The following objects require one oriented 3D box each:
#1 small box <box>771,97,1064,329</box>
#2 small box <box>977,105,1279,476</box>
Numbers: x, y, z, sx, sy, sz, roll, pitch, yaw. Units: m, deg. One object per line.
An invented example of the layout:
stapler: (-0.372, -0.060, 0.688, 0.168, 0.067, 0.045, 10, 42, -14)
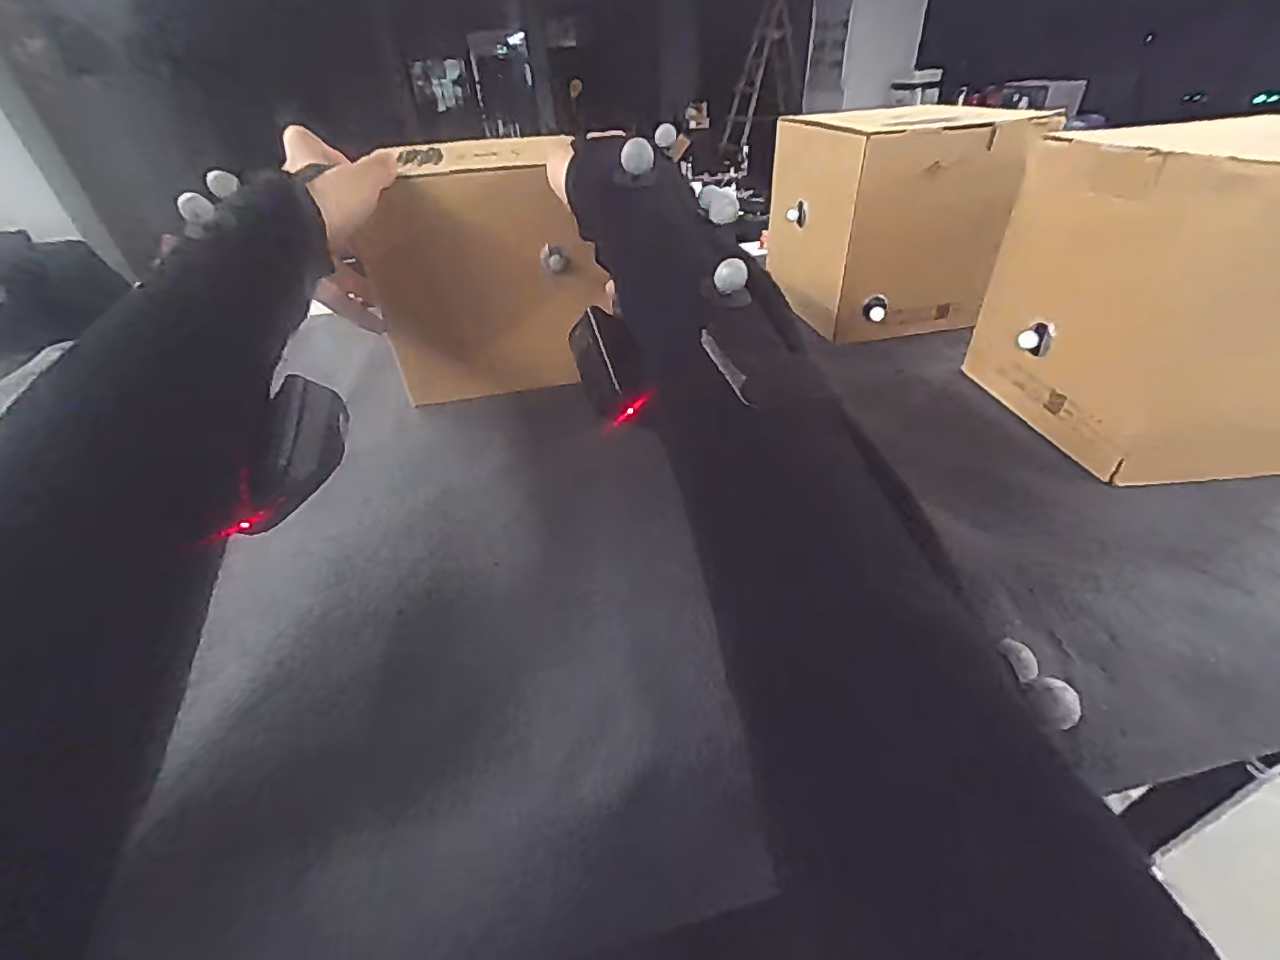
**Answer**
small box: (0.236, -0.253, 0.517, 0.168, 0.176, 0.179, -9, 37, -6)
small box: (0.351, -0.118, 0.329, 0.179, 0.176, 0.168, -5, 36, 0)
